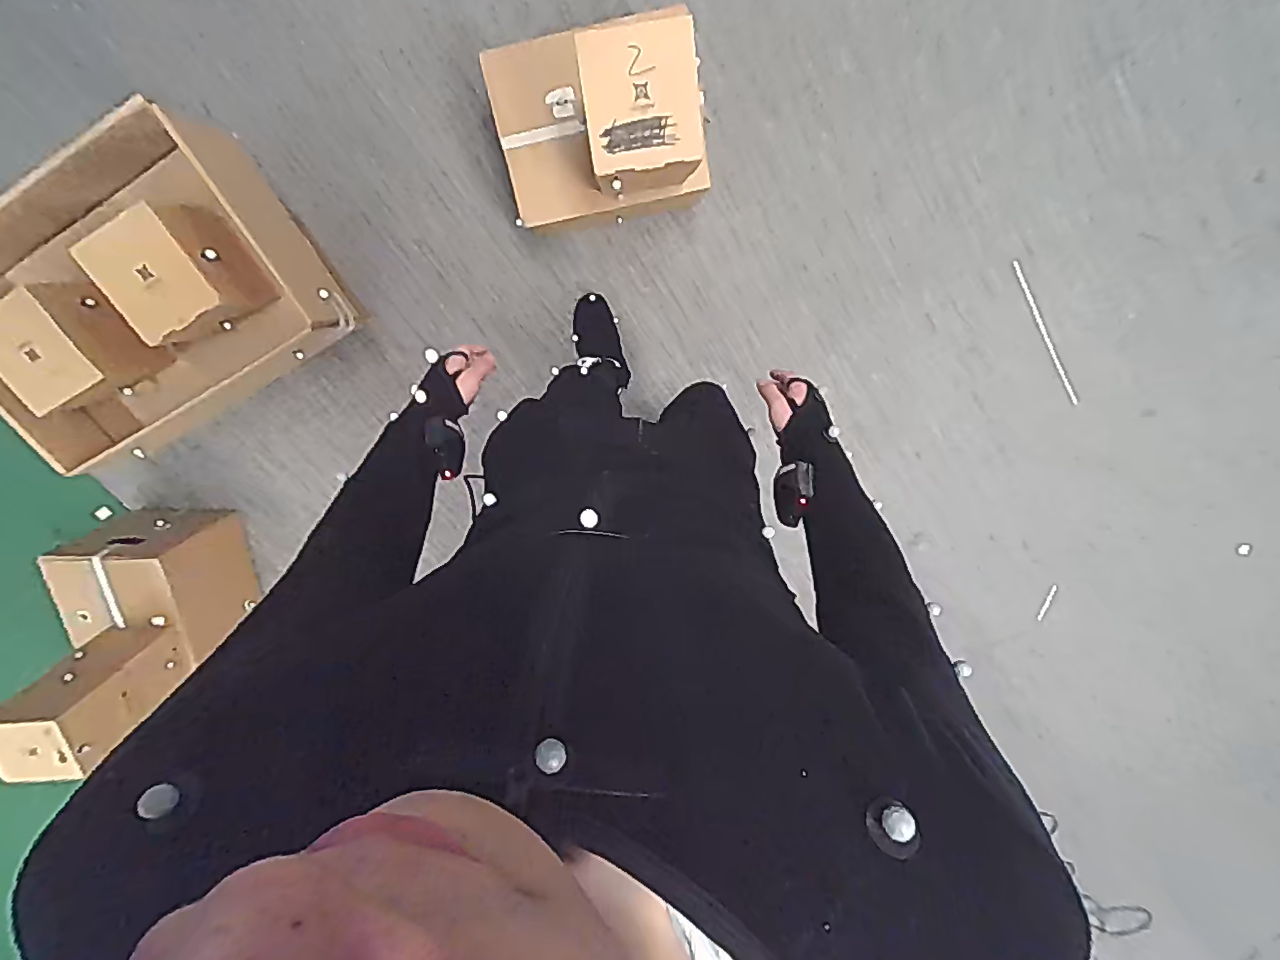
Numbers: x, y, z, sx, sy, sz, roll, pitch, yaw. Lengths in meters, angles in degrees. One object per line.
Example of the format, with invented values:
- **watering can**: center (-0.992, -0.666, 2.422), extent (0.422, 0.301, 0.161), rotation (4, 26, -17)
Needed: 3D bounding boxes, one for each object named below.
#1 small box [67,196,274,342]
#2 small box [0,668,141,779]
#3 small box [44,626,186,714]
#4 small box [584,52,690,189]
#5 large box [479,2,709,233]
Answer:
- **small box**: center (-0.809, -0.367, 0.954), extent (0.168, 0.176, 0.179), rotation (-26, 111, 8)
- **small box**: center (-1.316, 0.549, 1.234), extent (0.179, 0.176, 0.168), rotation (-1, 111, -1)
- **small box**: center (-1.332, 0.490, 1.387), extent (0.179, 0.176, 0.168), rotation (-1, 112, -3)
- **small box**: center (-0.003, -0.638, 0.984), extent (0.168, 0.176, 0.179), rotation (-8, 113, 1)
- **large box**: center (-0.082, -0.759, 1.198), extent (0.408, 0.320, 0.320), rotation (-11, 111, 4)
